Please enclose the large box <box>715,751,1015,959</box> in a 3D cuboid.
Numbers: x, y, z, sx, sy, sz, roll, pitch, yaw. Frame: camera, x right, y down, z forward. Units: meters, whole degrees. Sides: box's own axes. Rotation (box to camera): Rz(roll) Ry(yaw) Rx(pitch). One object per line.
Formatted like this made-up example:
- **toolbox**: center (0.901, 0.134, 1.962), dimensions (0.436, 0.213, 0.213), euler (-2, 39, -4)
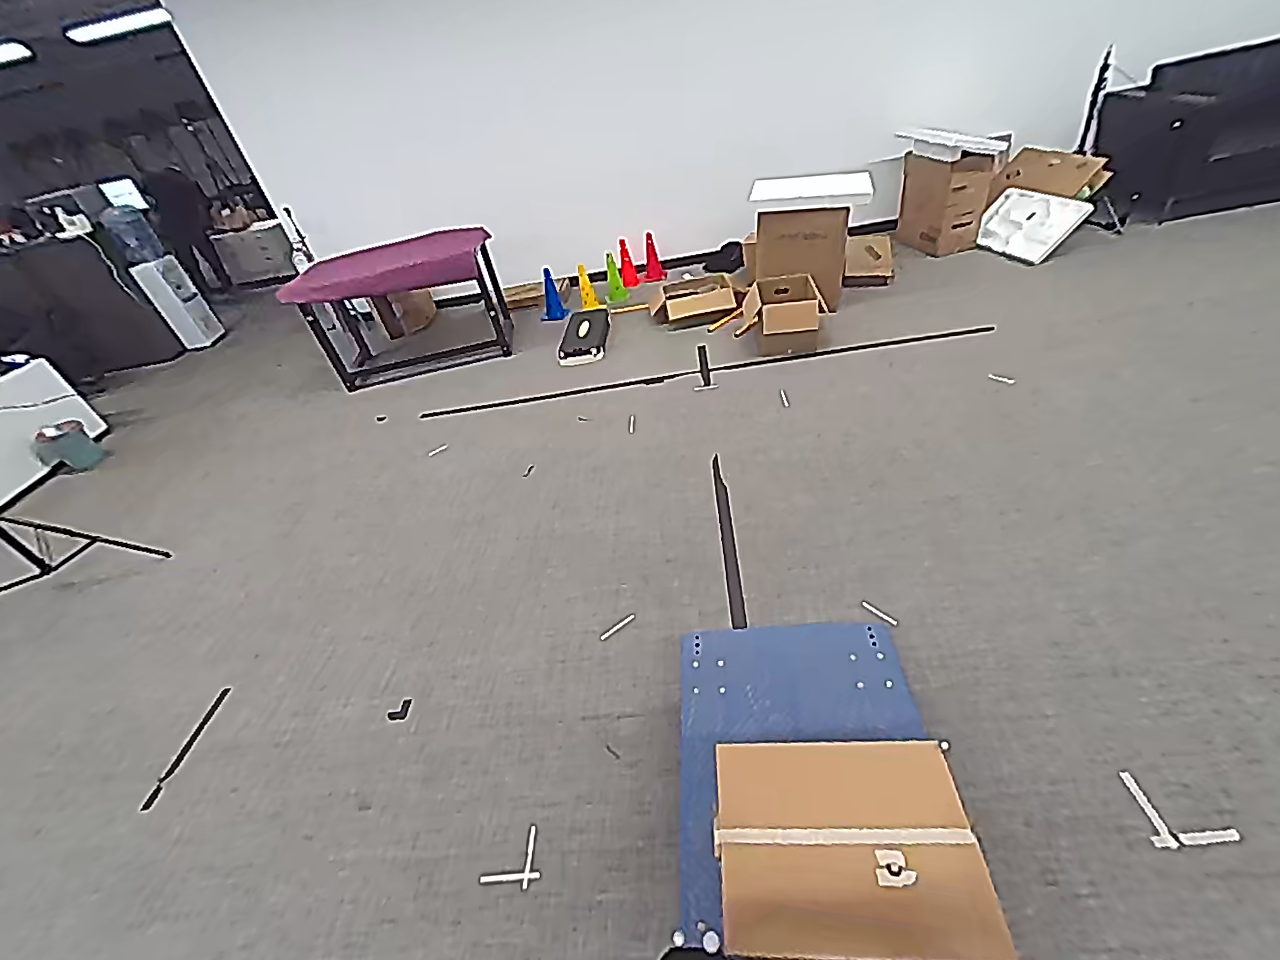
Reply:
- **large box**: center (0.352, 0.715, 0.971), dimensions (0.408, 0.320, 0.320), euler (-4, 39, 8)
